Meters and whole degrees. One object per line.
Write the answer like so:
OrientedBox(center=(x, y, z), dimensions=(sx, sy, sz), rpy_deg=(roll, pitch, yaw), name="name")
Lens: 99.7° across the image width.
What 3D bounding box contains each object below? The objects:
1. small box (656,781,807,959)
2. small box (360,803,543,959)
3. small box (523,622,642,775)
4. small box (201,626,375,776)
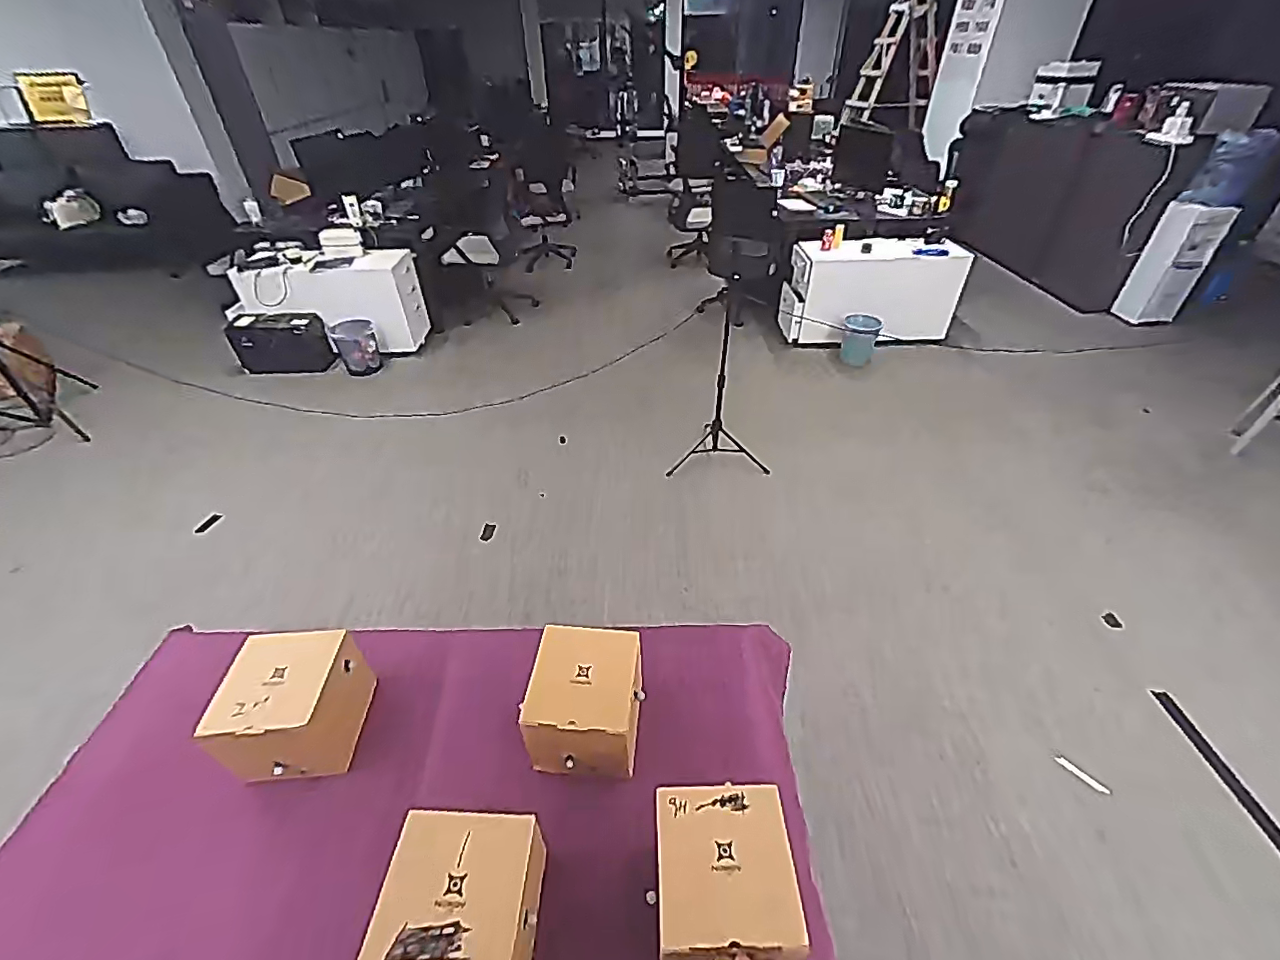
OrientedBox(center=(0.107, 0.521, 0.702), dimensions=(0.168, 0.176, 0.179), rpy_deg=(-2, 36, 1), name="small box")
OrientedBox(center=(-0.220, 0.536, 0.683), dimensions=(0.168, 0.176, 0.179), rpy_deg=(4, 42, 0), name="small box")
OrientedBox(center=(-0.086, 0.366, 0.913), dimensions=(0.168, 0.176, 0.179), rpy_deg=(3, 41, 6), name="small box")
OrientedBox(center=(-0.574, 0.373, 0.916), dimensions=(0.168, 0.176, 0.179), rpy_deg=(-3, 39, -2), name="small box")
